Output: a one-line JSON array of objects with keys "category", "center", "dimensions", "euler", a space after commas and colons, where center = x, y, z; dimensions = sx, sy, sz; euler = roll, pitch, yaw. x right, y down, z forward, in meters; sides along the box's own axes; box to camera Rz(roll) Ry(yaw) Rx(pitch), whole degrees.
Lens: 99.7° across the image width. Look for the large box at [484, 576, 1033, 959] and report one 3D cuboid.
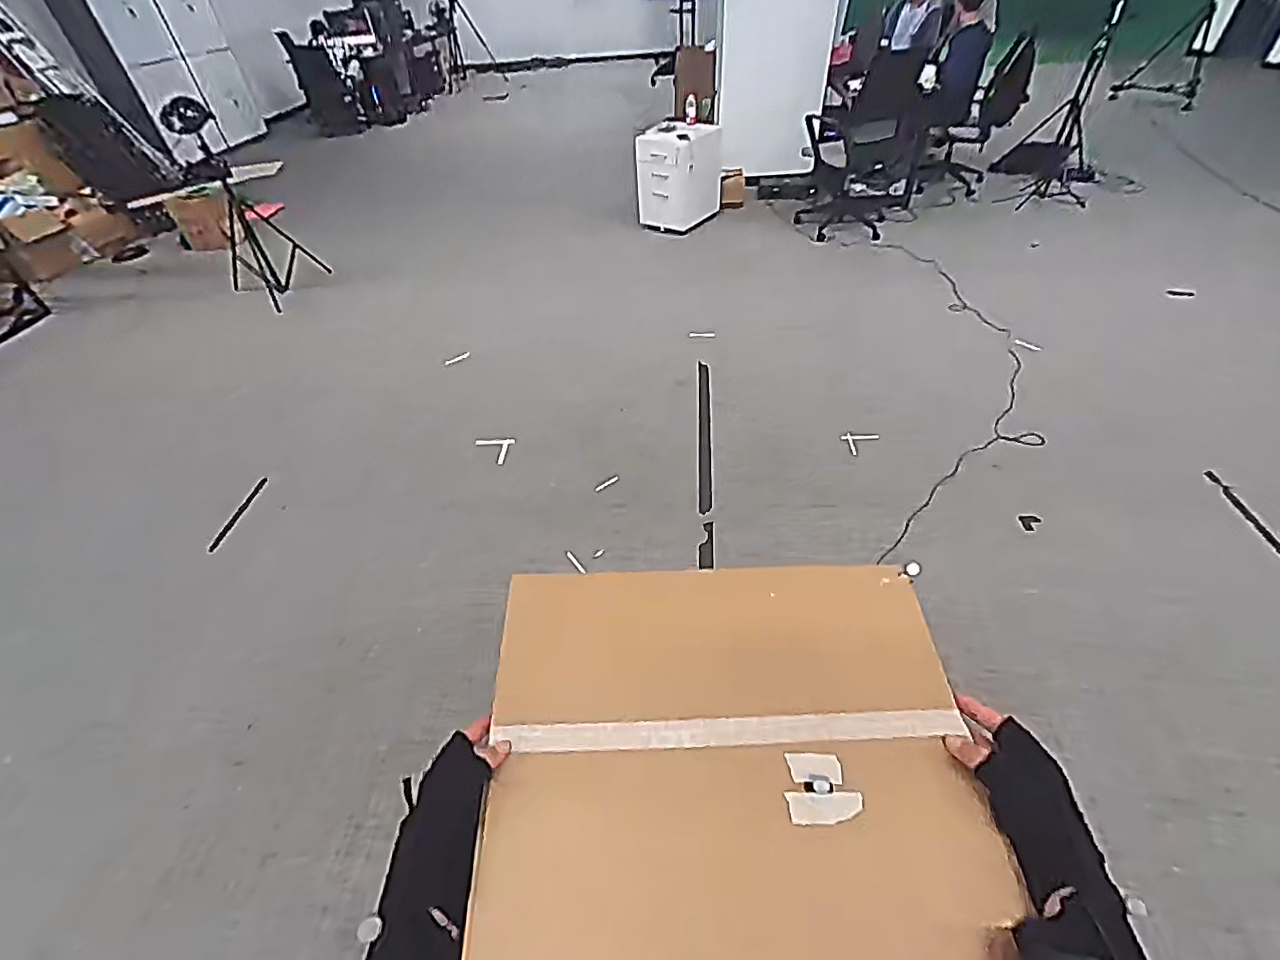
[{"category": "large box", "center": [0.078, 0.321, 0.588], "dimensions": [0.408, 0.320, 0.320], "euler": [-1, 52, -1]}]
